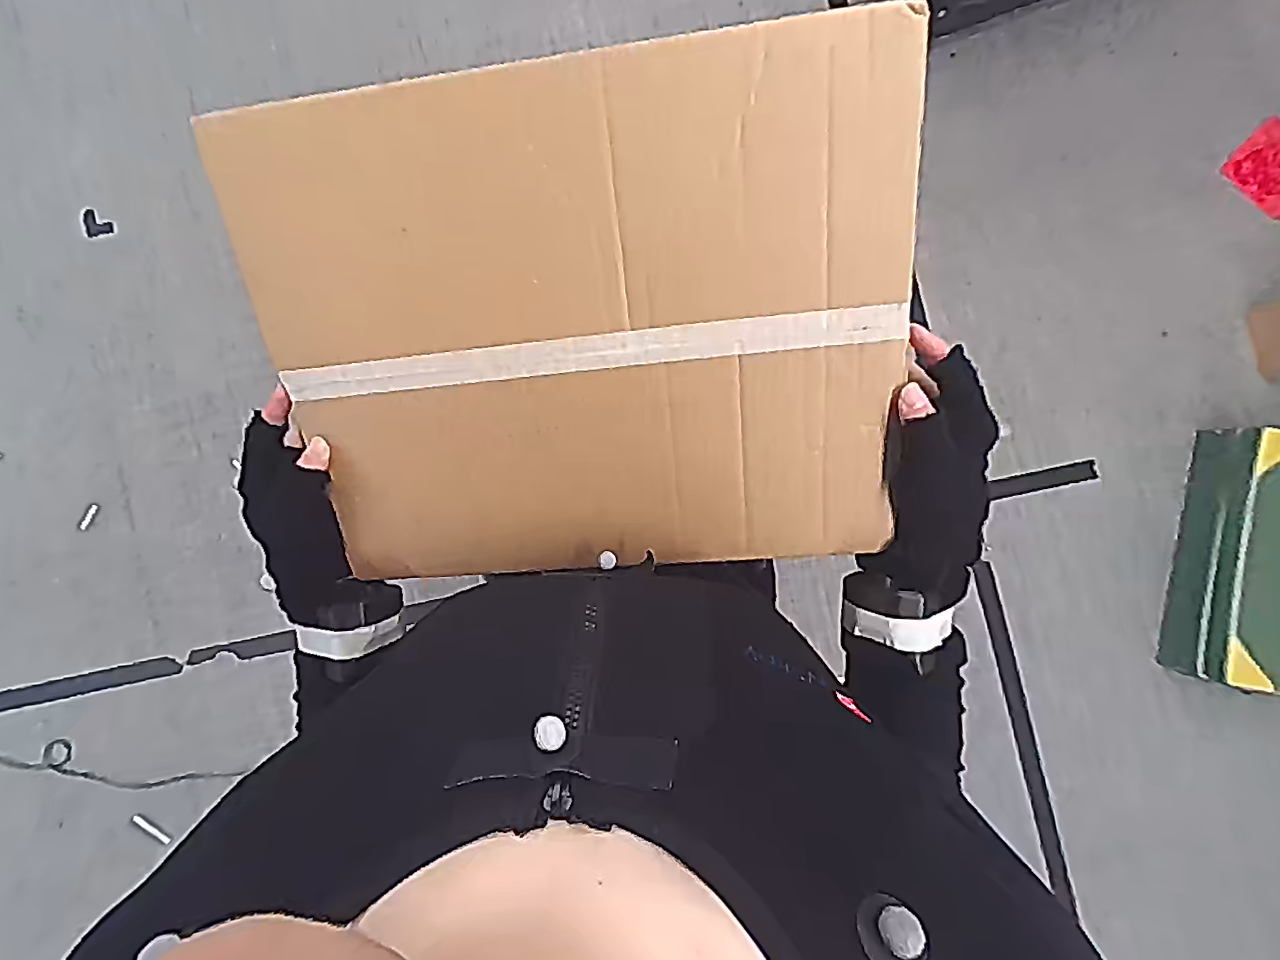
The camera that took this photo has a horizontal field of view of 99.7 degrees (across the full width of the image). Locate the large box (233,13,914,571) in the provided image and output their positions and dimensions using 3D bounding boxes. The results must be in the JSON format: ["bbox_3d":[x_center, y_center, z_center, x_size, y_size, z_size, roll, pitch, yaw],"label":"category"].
[{"bbox_3d":[-0.026,-0.138,0.493,0.408,0.320,0.320,-4,112,7],"label":"large box"}]
